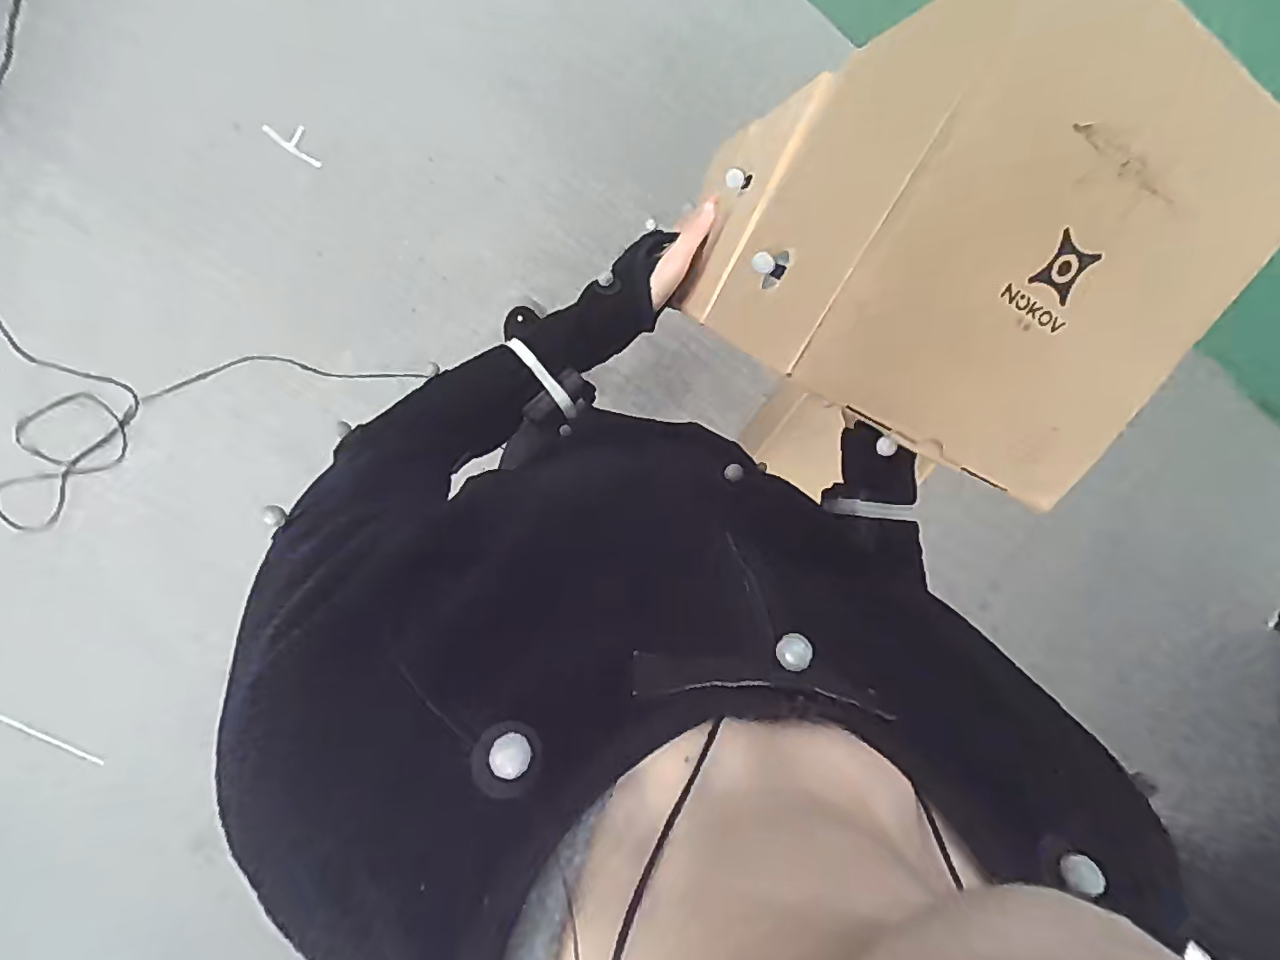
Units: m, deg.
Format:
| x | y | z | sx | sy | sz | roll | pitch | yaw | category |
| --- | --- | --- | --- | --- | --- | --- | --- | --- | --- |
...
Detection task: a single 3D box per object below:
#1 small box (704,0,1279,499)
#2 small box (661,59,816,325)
| x | y | z | sx | sy | sz | roll | pitch | yaw | category |
| --- | --- | --- | --- | --- | --- | --- | --- | --- | --- |
| 0.150 | -0.123 | 0.297 | 0.168 | 0.176 | 0.179 | 23 | 109 | -16 | small box |
| 0.132 | -0.188 | 0.445 | 0.179 | 0.176 | 0.168 | 21 | 110 | -15 | small box |
